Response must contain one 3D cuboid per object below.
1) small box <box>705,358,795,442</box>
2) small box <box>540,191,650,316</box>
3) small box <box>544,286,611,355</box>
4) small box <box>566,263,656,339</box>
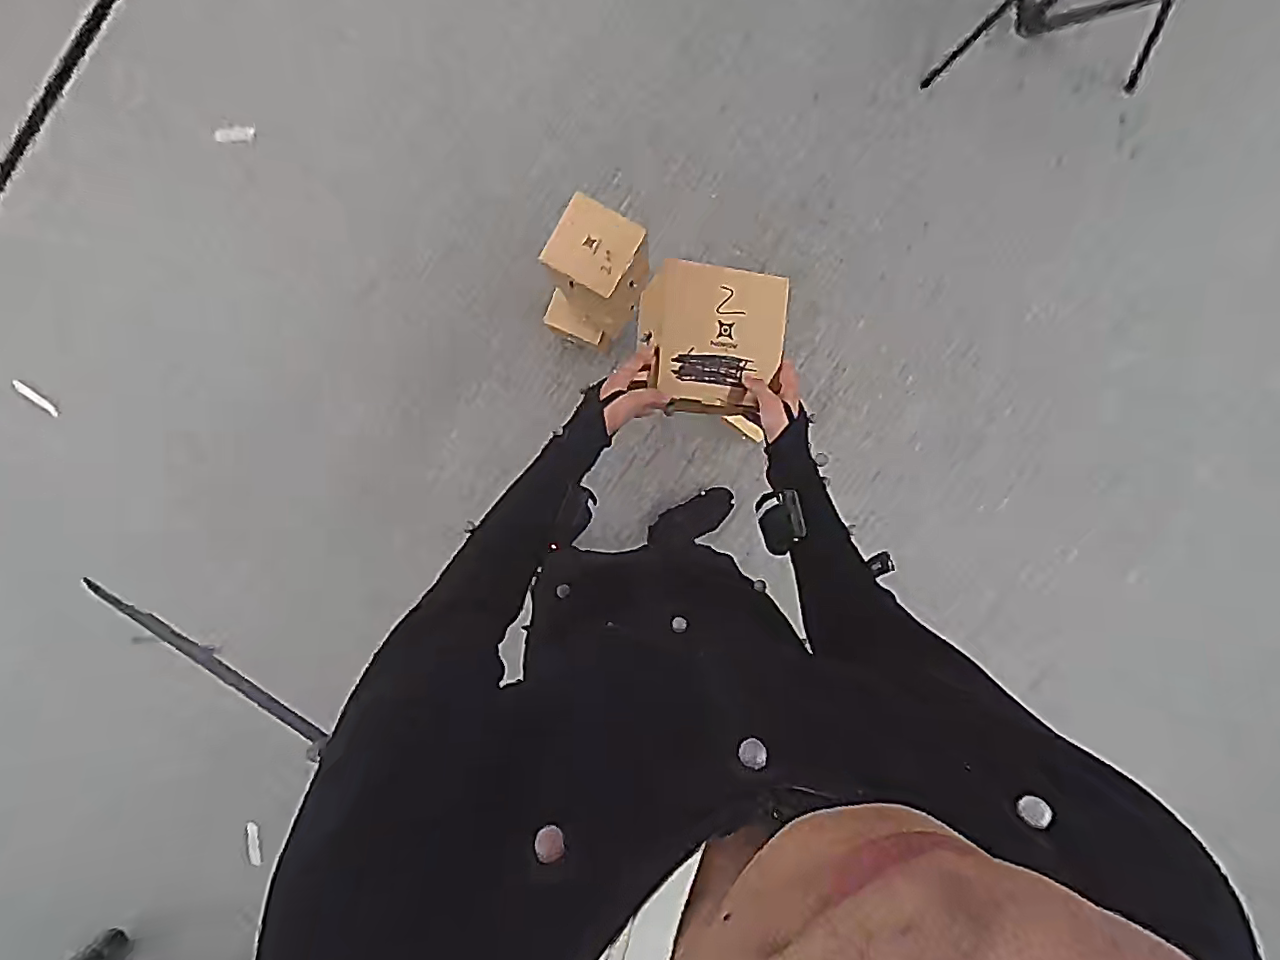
[{"bbox_3d":[0.302,-0.217,1.533,0.179,0.176,0.168,35,93,-2],"label":"small box"},{"bbox_3d":[-0.093,-0.489,1.198,0.179,0.176,0.168,31,92,0],"label":"small box"},{"bbox_3d":[-0.151,-0.475,1.528,0.168,0.176,0.179,24,93,0],"label":"small box"},{"bbox_3d":[-0.077,-0.487,1.363,0.168,0.176,0.179,38,93,0],"label":"small box"}]
